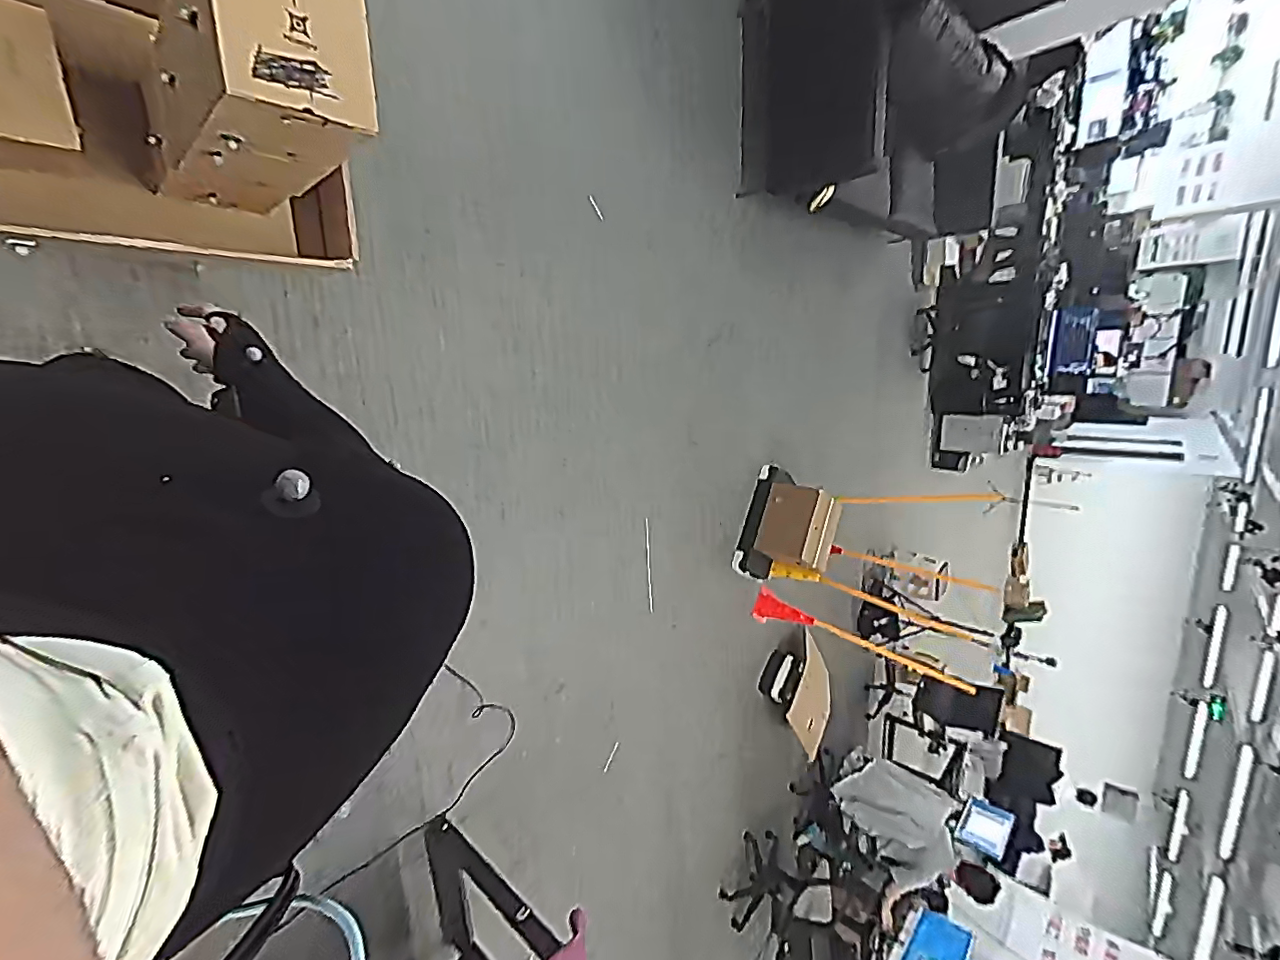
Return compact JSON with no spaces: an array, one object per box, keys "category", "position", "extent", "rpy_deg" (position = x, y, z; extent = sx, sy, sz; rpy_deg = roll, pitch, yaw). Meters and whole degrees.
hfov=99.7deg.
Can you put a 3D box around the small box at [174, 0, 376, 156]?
[{"category":"small box","position":[-0.452,-0.534,0.672],"extent":[0.168,0.176,0.179],"rpy_deg":[-13,106,-46]}]

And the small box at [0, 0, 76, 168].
[{"category":"small box","position":[-0.875,-0.528,0.700],"extent":[0.179,0.176,0.168],"rpy_deg":[-15,108,-47]}]
